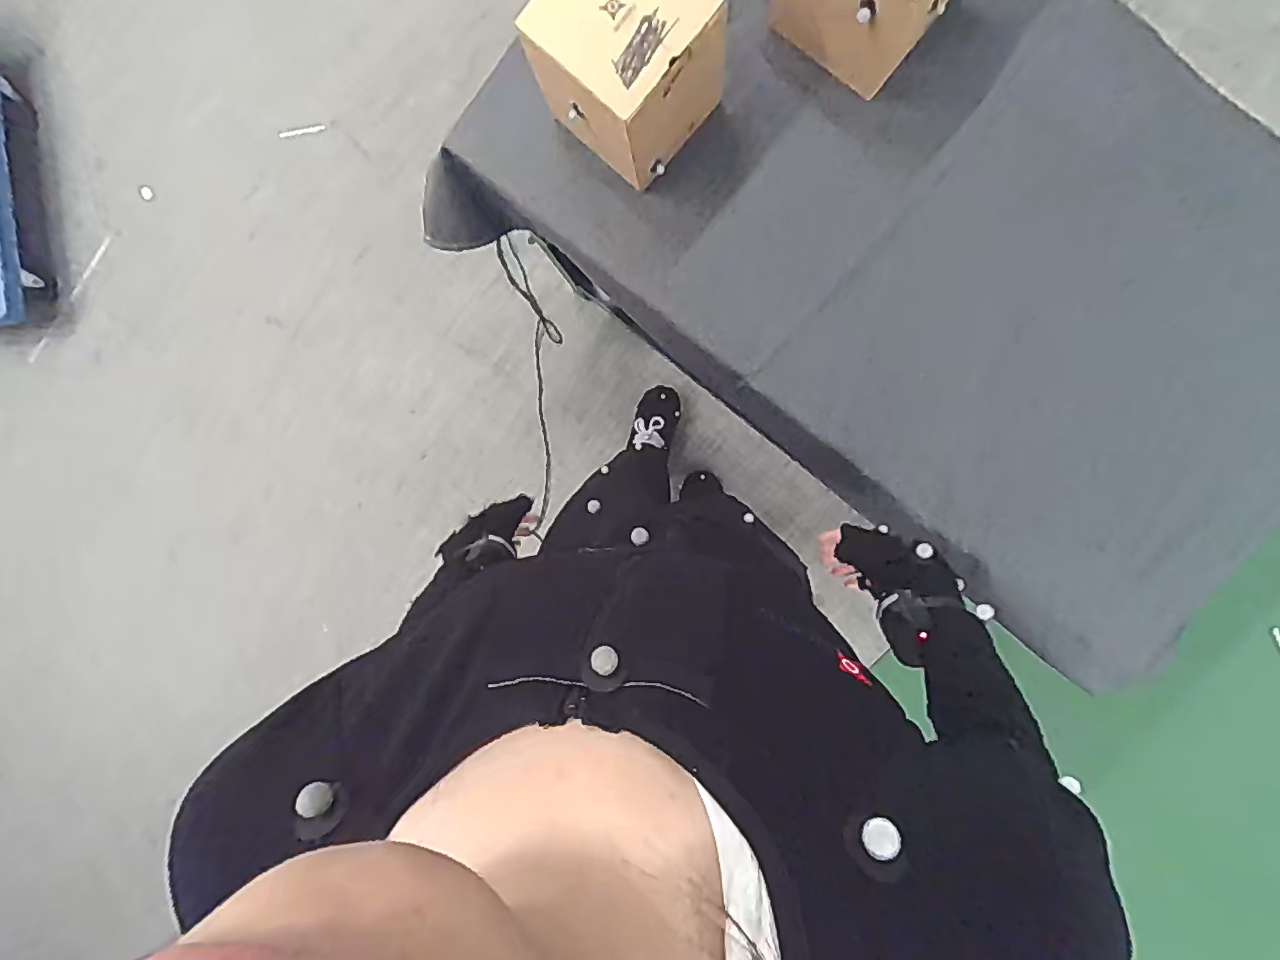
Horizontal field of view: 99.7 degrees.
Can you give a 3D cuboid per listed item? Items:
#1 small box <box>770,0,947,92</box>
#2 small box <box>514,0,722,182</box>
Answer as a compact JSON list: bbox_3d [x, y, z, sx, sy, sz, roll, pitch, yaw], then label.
[{"bbox_3d":[0.278,-0.612,0.638,0.179,0.176,0.168,40,97,3],"label":"small box"},{"bbox_3d":[-0.018,-0.512,0.675,0.179,0.176,0.168,42,95,3],"label":"small box"}]
